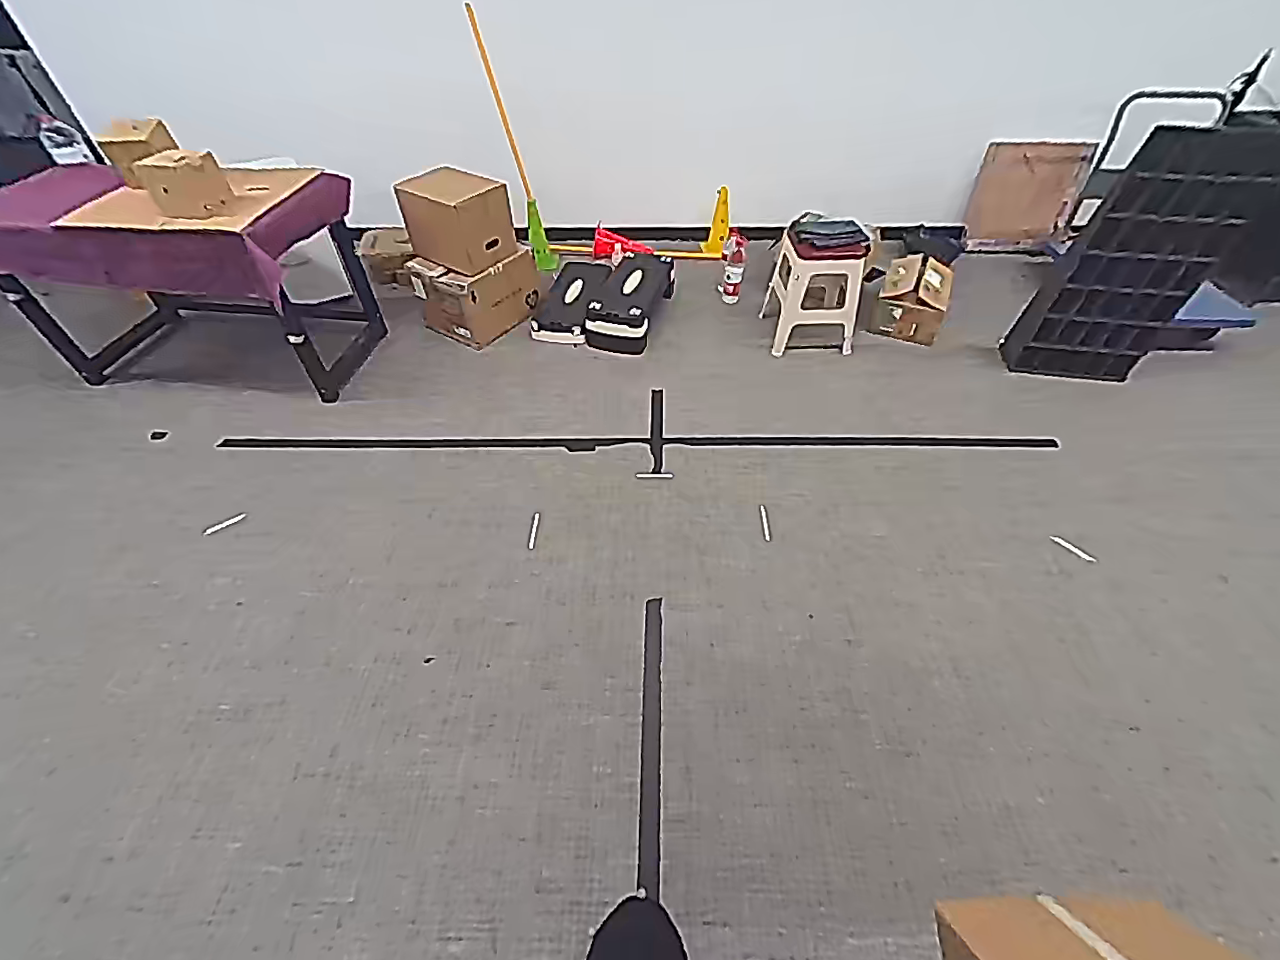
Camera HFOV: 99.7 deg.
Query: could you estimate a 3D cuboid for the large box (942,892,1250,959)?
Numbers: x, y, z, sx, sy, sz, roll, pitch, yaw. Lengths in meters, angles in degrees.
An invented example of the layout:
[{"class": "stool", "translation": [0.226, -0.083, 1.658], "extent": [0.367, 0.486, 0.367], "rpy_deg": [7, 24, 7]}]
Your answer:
[{"class": "large box", "translation": [0.593, 0.728, 0.581], "extent": [0.320, 0.408, 0.320], "rpy_deg": [-4, 79, 4]}]
